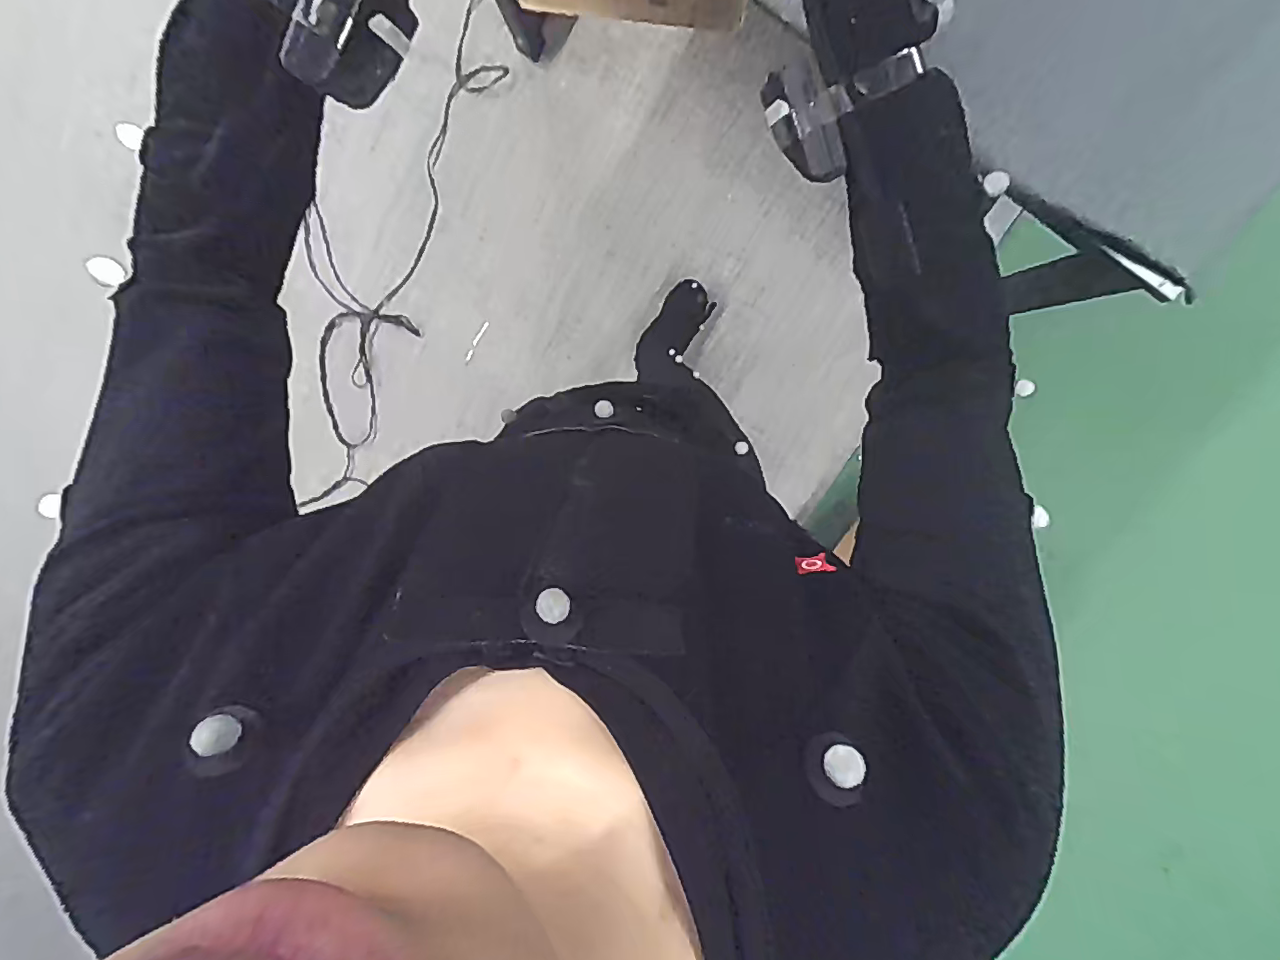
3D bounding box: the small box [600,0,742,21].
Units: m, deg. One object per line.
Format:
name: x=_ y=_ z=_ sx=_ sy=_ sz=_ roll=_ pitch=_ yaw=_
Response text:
small box: x=0.006 y=-0.428 z=0.311 sx=0.168 sy=0.176 sz=0.179 roll=6 pitch=96 yaw=-2
